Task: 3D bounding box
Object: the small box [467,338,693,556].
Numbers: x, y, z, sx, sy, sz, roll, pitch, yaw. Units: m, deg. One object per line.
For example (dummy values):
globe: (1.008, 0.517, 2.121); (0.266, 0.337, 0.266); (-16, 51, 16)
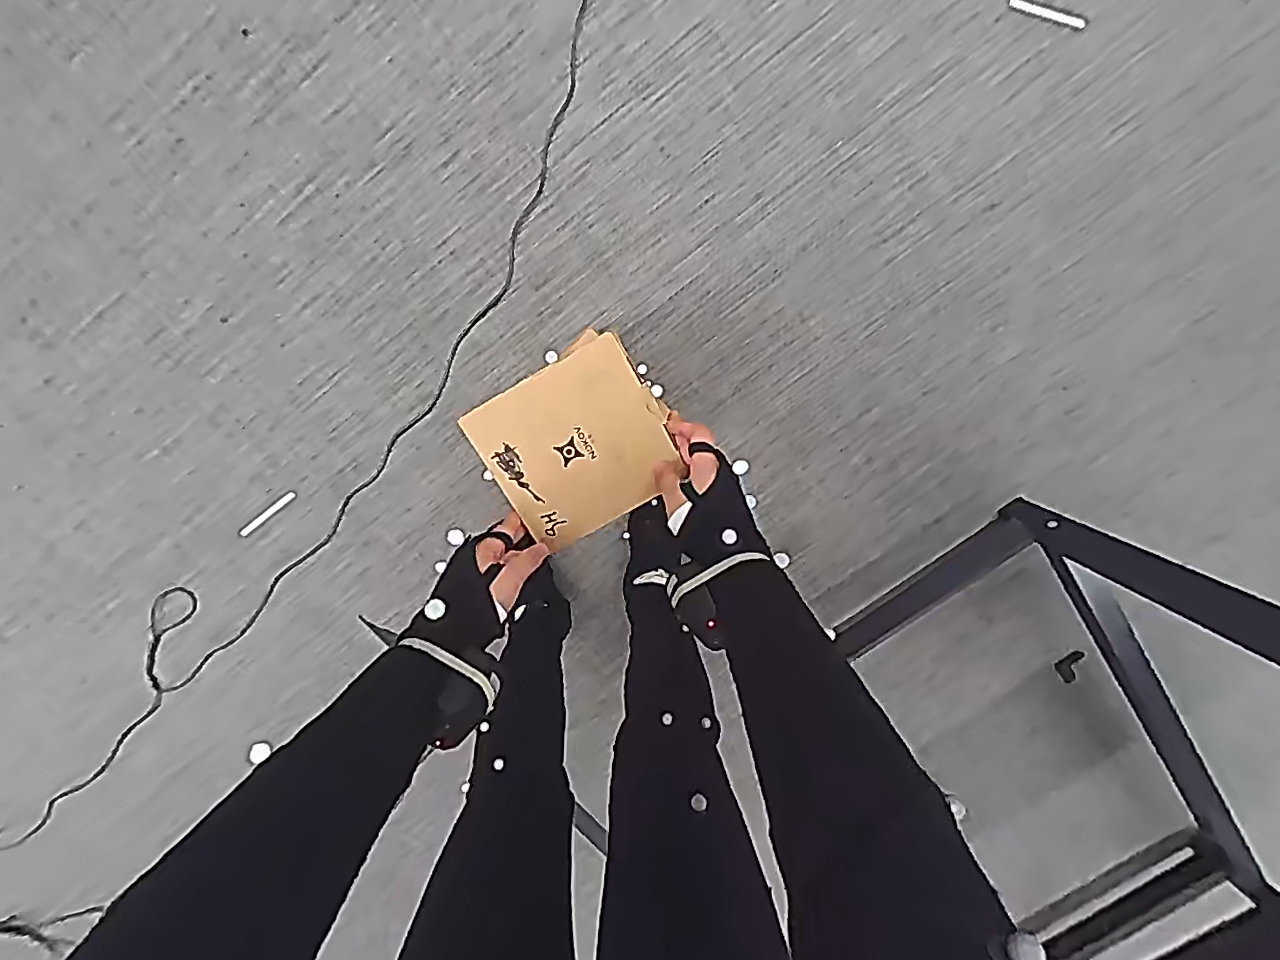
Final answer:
small box: (-0.063, -0.049, 0.616); (0.179, 0.176, 0.168); (-30, 104, 4)
